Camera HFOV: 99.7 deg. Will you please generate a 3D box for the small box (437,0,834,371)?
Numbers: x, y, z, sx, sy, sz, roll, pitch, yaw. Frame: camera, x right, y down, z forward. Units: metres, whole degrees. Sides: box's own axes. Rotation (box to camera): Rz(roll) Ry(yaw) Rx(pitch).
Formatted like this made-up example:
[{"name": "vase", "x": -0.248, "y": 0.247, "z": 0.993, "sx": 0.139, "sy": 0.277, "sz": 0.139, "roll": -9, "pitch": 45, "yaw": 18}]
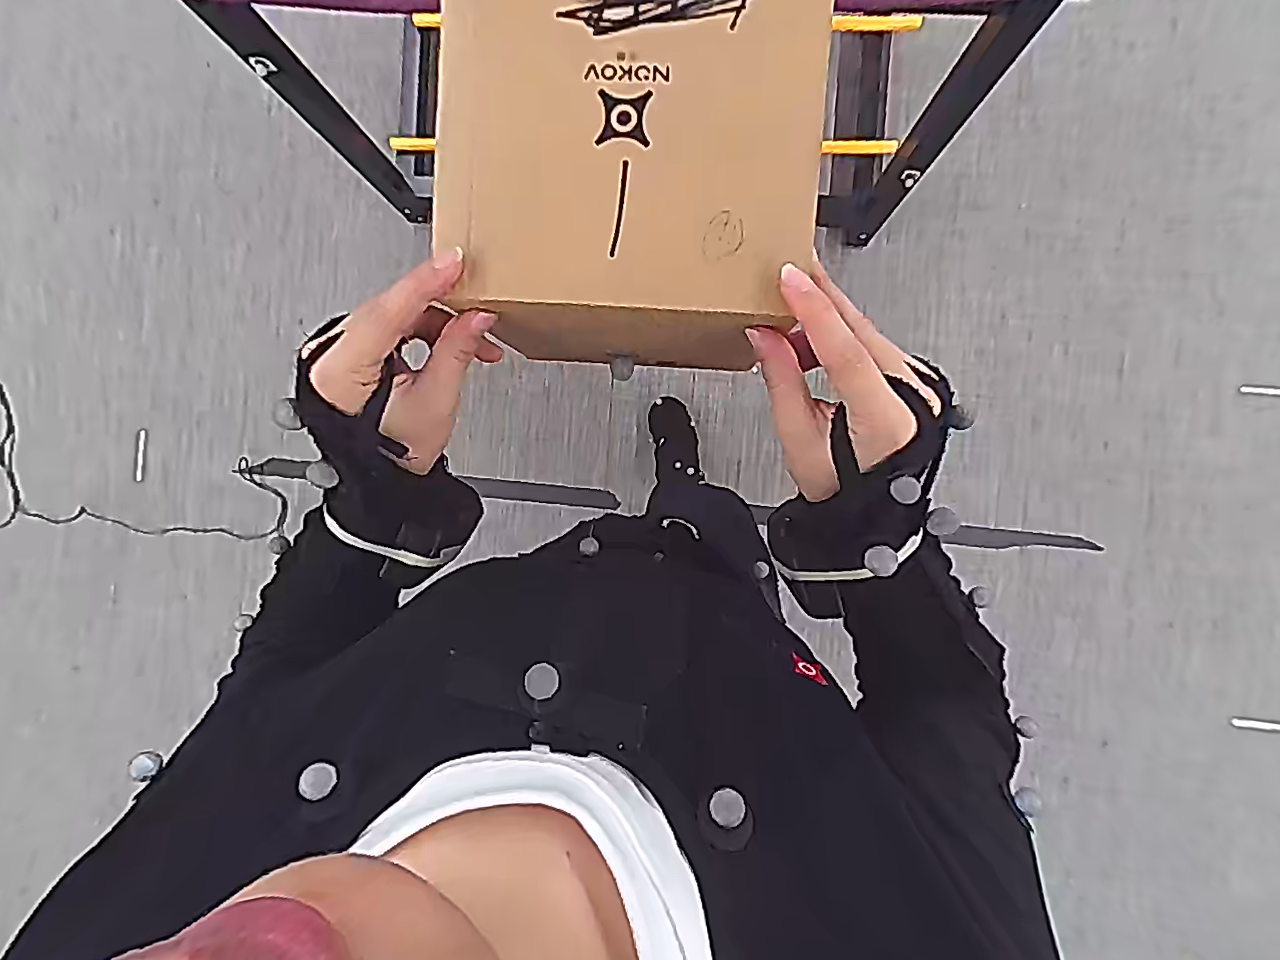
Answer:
[{"name": "small box", "x": 0.000, "y": -0.168, "z": 0.314, "sx": 0.168, "sy": 0.176, "sz": 0.179, "roll": 4, "pitch": 94, "yaw": 3}]
